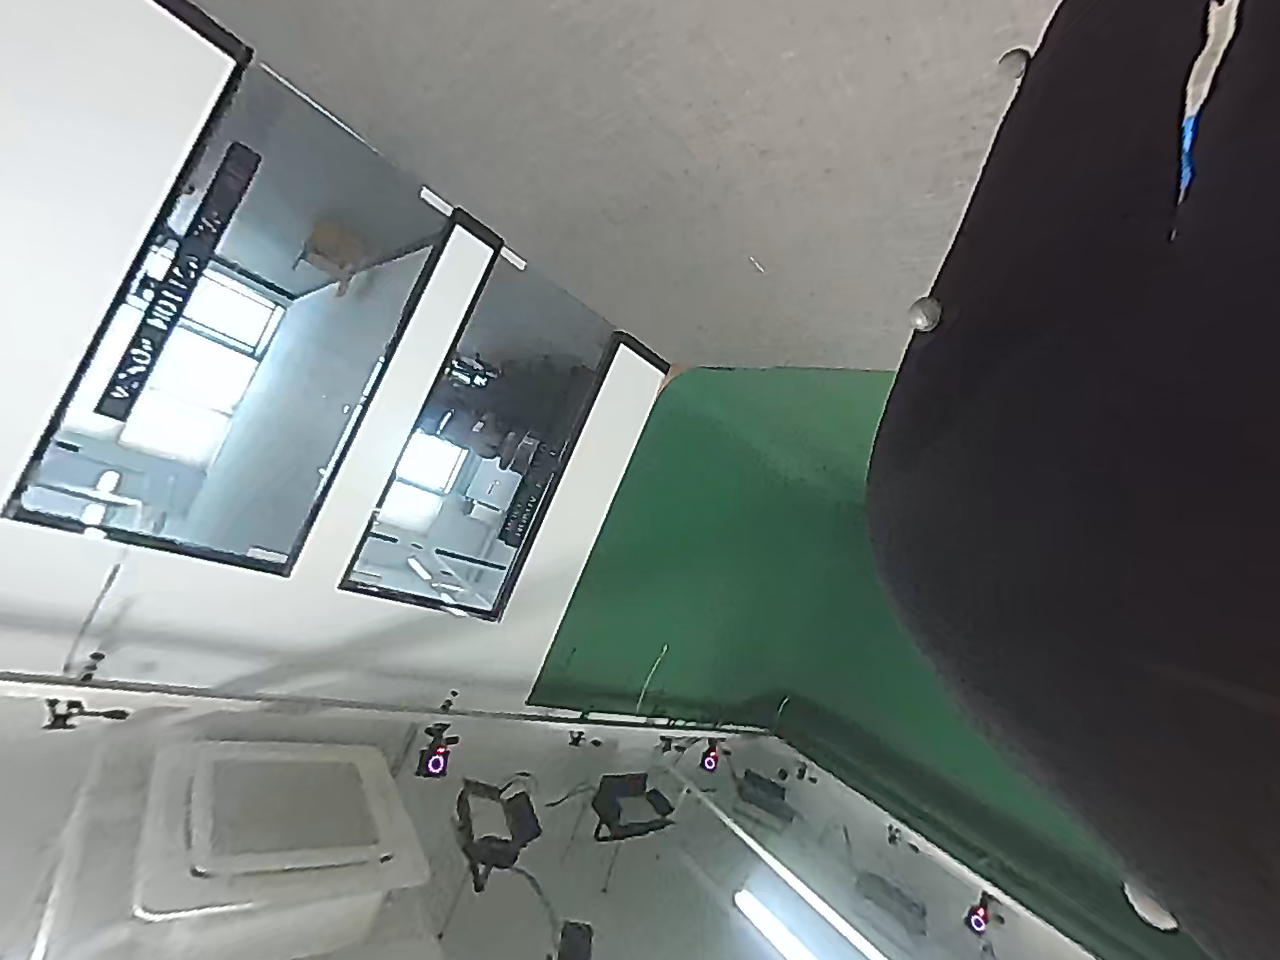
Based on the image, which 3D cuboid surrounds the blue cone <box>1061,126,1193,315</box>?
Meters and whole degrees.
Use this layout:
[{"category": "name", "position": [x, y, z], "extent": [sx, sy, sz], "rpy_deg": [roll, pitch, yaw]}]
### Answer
[{"category": "blue cone", "position": [0.998, -0.528, 1.155], "extent": [0.193, 0.380, 0.192], "rpy_deg": [28, 174, -41]}]
